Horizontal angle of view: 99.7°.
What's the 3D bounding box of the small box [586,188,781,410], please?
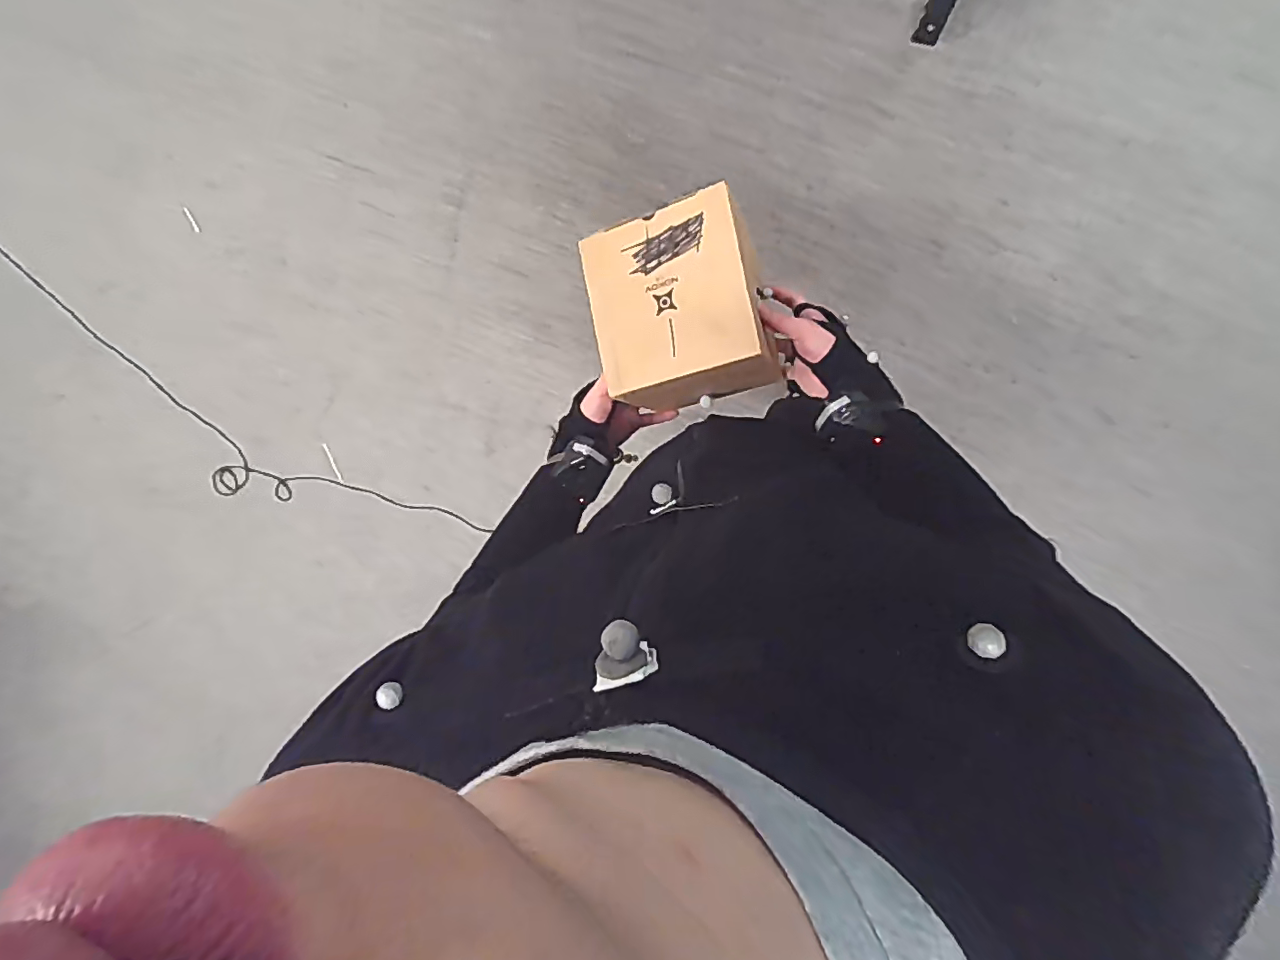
[{"bbox_3d":[0.058,-0.188,0.624,0.168,0.176,0.179,-12,88,22],"label":"small box"}]
